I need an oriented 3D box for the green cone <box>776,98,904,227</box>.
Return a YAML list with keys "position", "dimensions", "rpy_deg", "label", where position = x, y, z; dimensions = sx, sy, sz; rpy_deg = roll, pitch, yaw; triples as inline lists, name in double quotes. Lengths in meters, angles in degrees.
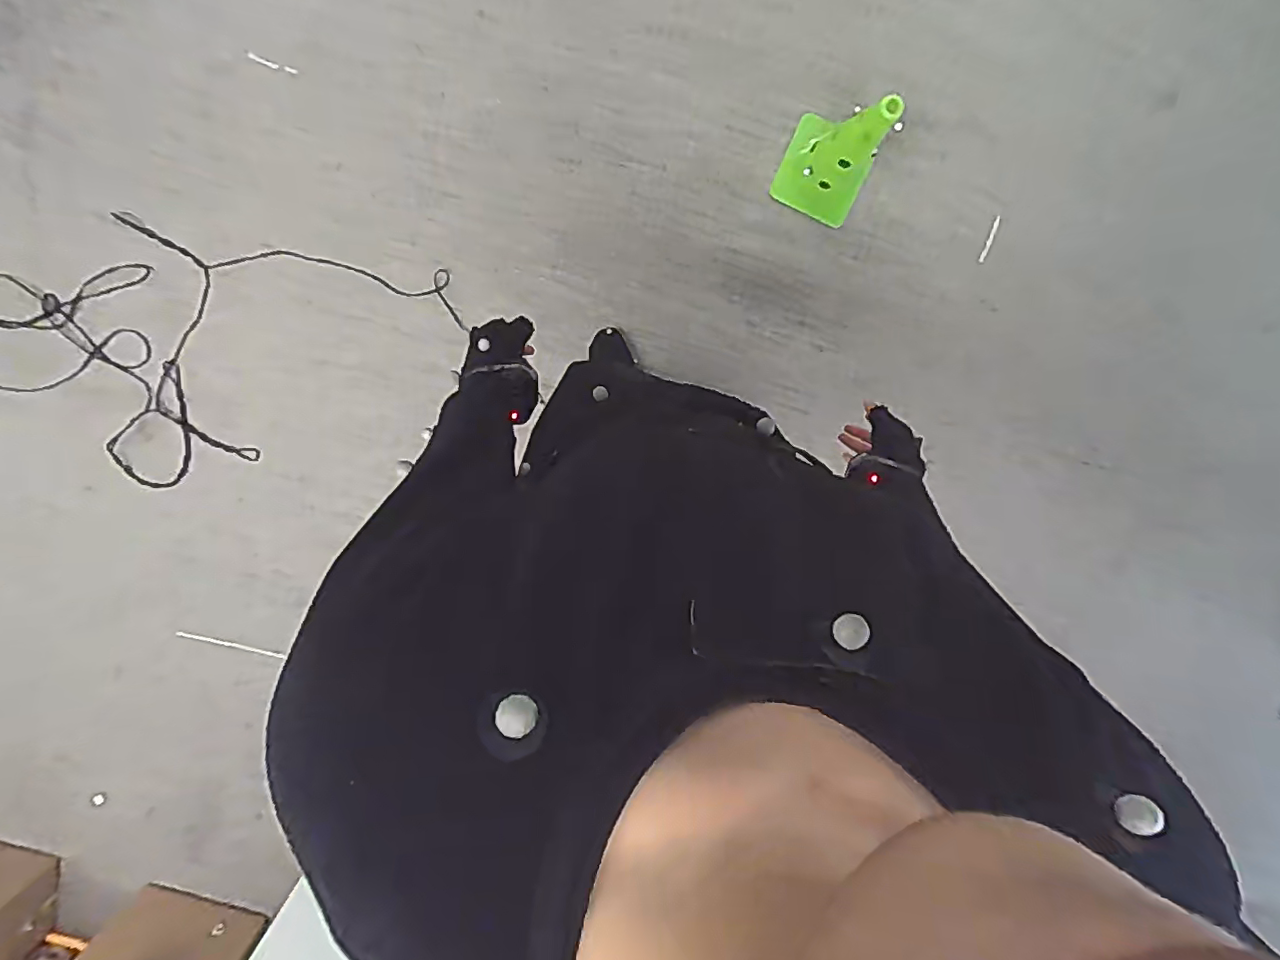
- position: [0.448, -0.702, 1.132]
  dimensions: [0.200, 0.368, 0.202]
  rpy_deg: [22, 102, -5]
  label: "green cone"
